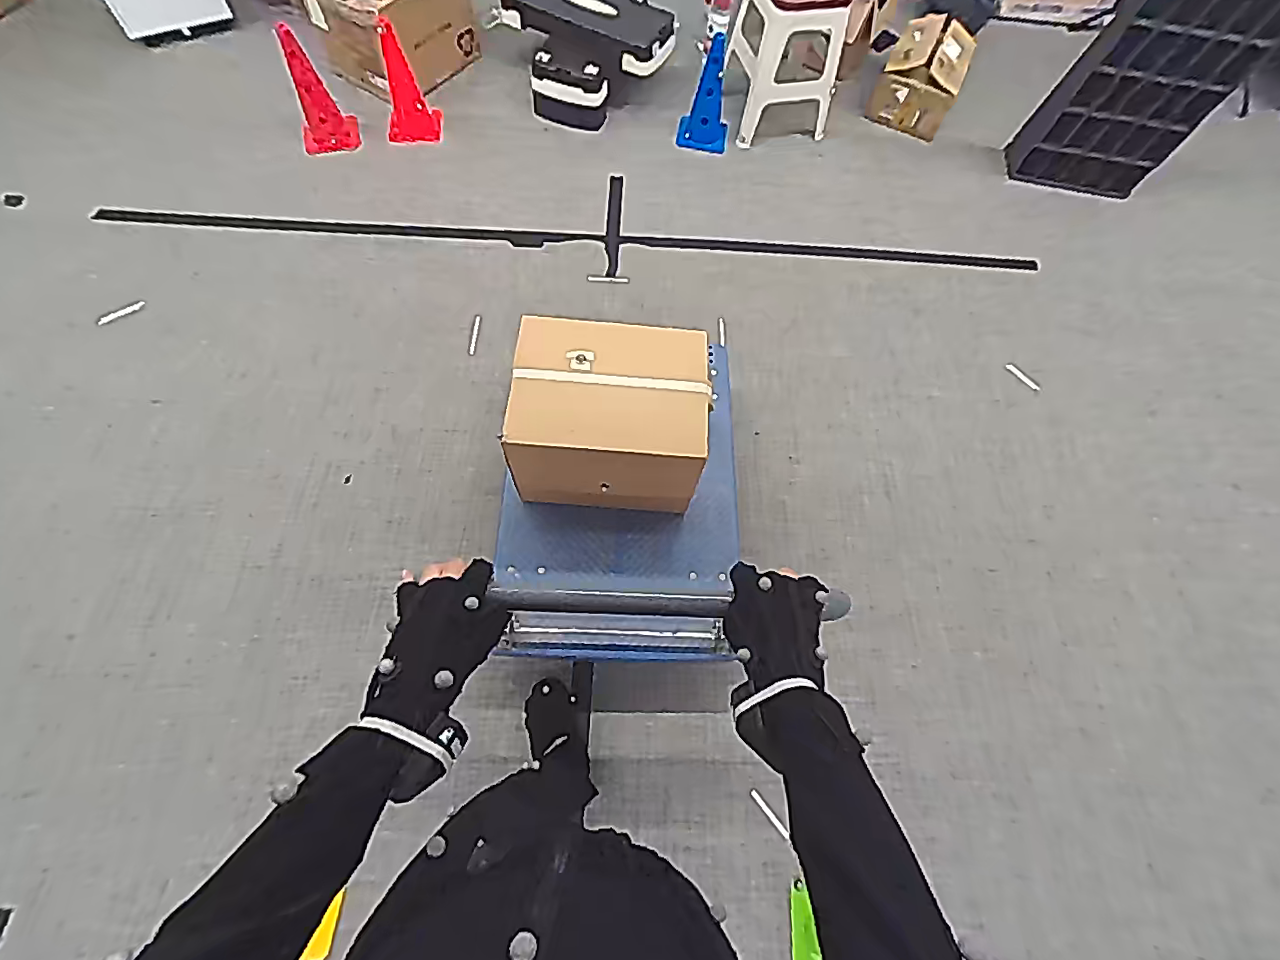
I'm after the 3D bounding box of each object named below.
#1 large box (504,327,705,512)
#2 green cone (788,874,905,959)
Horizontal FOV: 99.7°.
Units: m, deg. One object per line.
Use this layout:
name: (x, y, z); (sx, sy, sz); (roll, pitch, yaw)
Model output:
large box: (-0.069, -0.124, 1.260); (0.408, 0.320, 0.320); (4, 66, -1)
green cone: (0.427, 0.889, 0.987); (0.202, 0.368, 0.200); (7, 65, -2)
